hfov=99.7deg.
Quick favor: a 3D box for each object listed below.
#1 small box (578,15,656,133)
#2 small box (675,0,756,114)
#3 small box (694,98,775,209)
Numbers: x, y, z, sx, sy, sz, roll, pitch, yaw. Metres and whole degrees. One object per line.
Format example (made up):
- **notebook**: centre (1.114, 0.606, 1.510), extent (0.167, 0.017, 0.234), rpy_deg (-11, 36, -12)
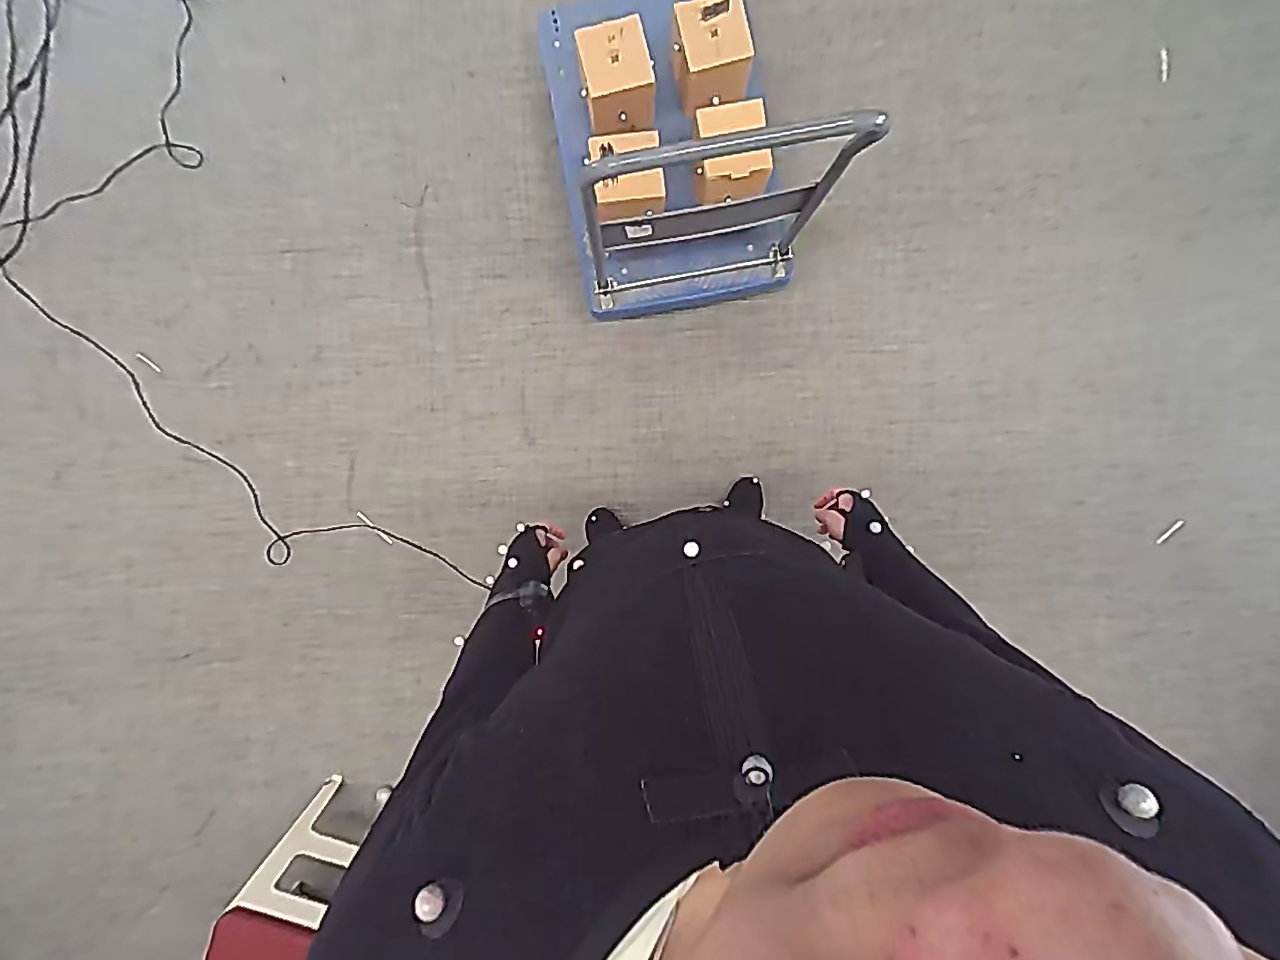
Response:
- **small box**: centre (-0.054, -1.046, 1.415), extent (0.168, 0.176, 0.179), rpy_deg (-14, 89, 0)
- **small box**: centre (0.190, -1.108, 1.409), extent (0.168, 0.176, 0.179), rpy_deg (-14, 90, 2)
- **small box**: centre (0.239, -0.842, 1.407), extent (0.168, 0.176, 0.179), rpy_deg (-9, 90, 1)
